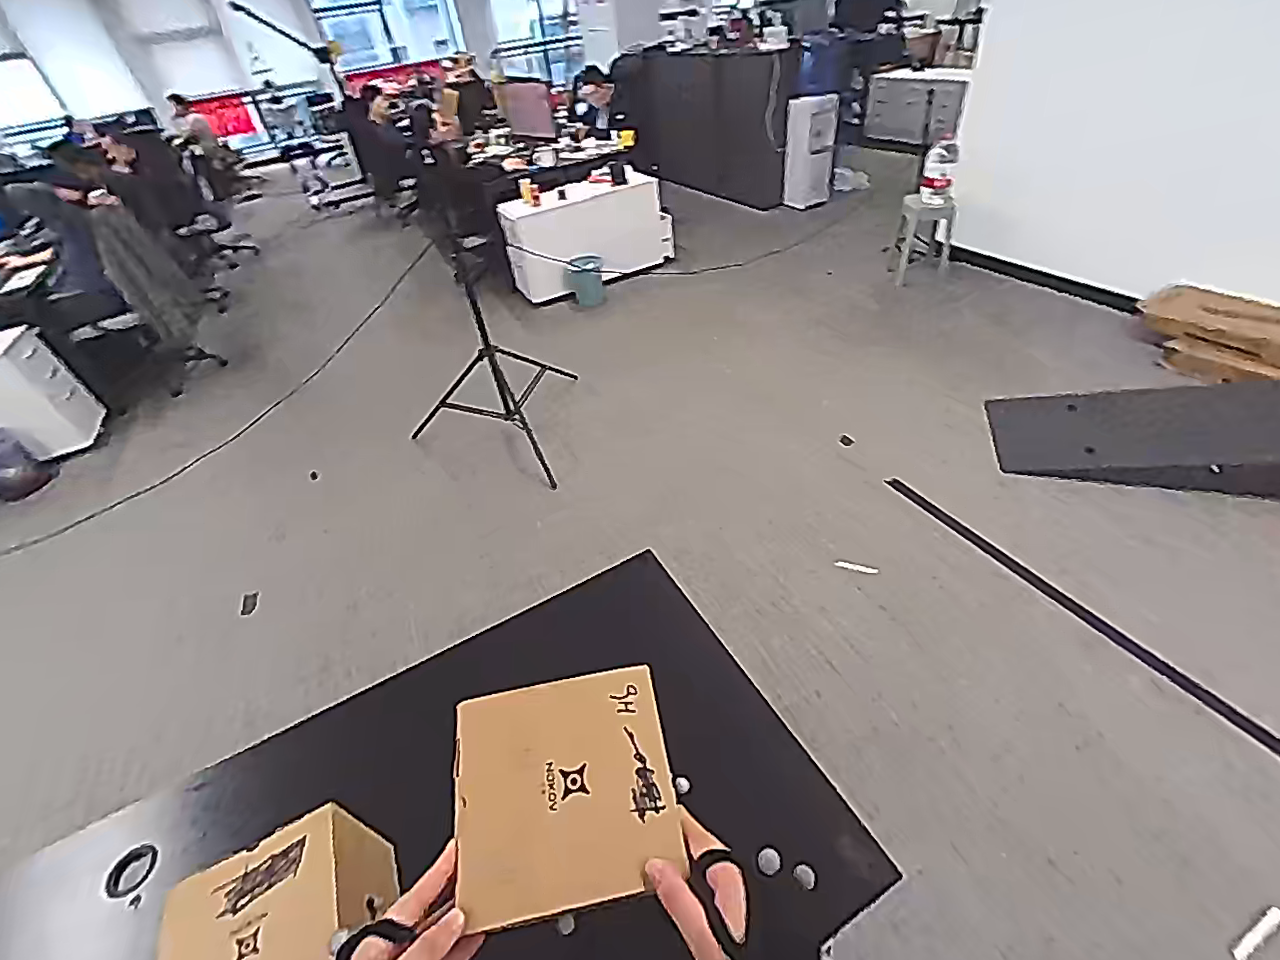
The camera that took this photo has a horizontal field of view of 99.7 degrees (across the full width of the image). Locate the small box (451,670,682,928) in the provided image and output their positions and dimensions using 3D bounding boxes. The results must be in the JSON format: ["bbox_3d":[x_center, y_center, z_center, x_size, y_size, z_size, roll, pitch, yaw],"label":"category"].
[{"bbox_3d":[-0.061,0.301,0.508,0.179,0.176,0.168,-9,52,-5],"label":"small box"}]

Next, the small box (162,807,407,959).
[{"bbox_3d":[-0.367,0.503,0.578,0.168,0.176,0.179,-24,44,-16],"label":"small box"}]
